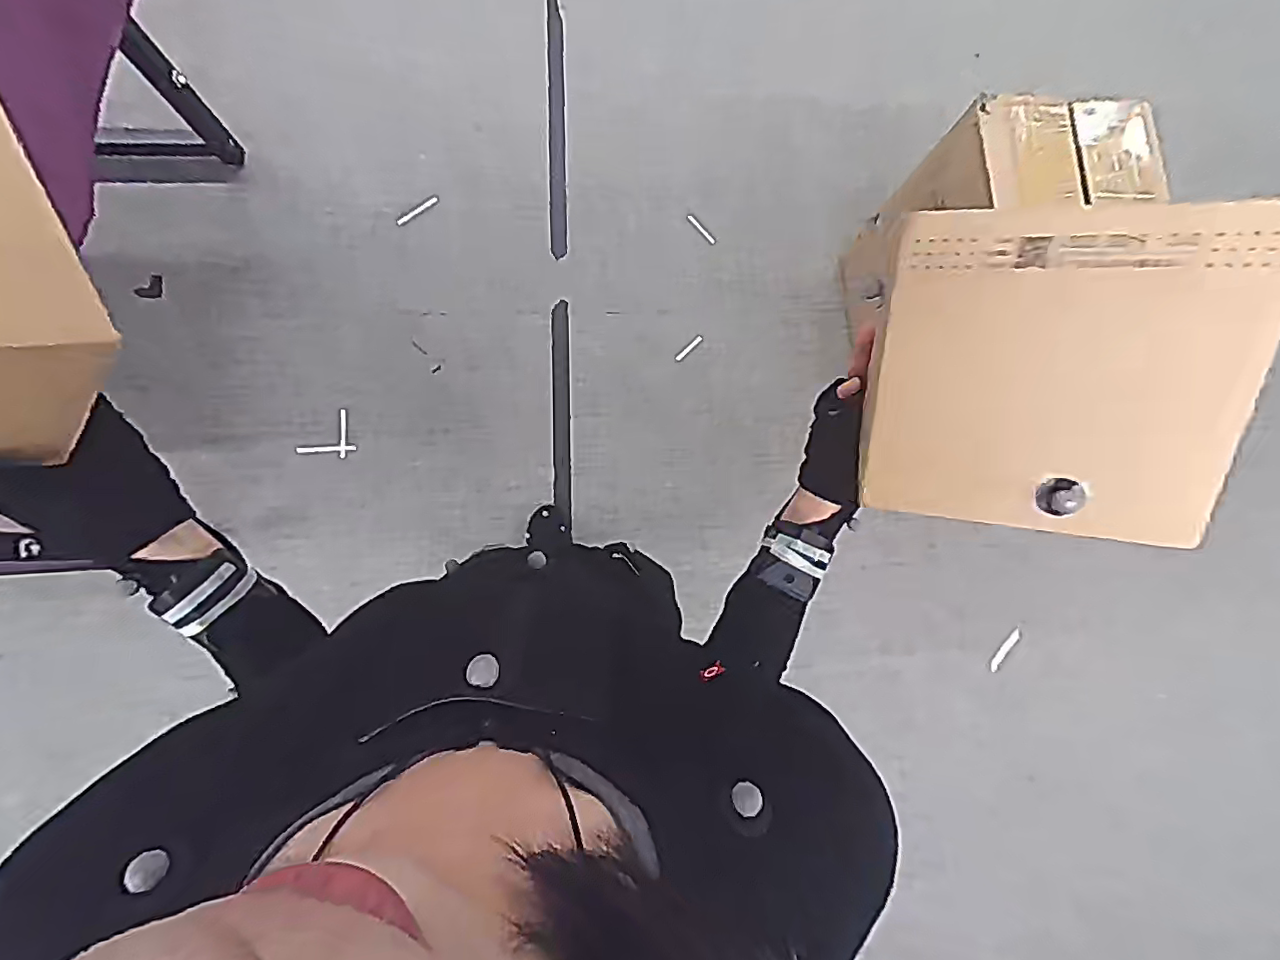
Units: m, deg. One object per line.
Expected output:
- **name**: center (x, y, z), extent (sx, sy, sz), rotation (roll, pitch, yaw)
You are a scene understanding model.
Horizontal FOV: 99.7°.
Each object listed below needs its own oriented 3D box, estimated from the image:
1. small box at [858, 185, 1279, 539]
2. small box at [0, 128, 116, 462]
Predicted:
- **small box**: center (0.239, -0.086, 0.346), extent (0.168, 0.179, 0.176), rotation (7, 113, 19)
- **small box**: center (-0.415, -0.103, 0.264), extent (0.179, 0.168, 0.176), rotation (-27, 91, 34)
